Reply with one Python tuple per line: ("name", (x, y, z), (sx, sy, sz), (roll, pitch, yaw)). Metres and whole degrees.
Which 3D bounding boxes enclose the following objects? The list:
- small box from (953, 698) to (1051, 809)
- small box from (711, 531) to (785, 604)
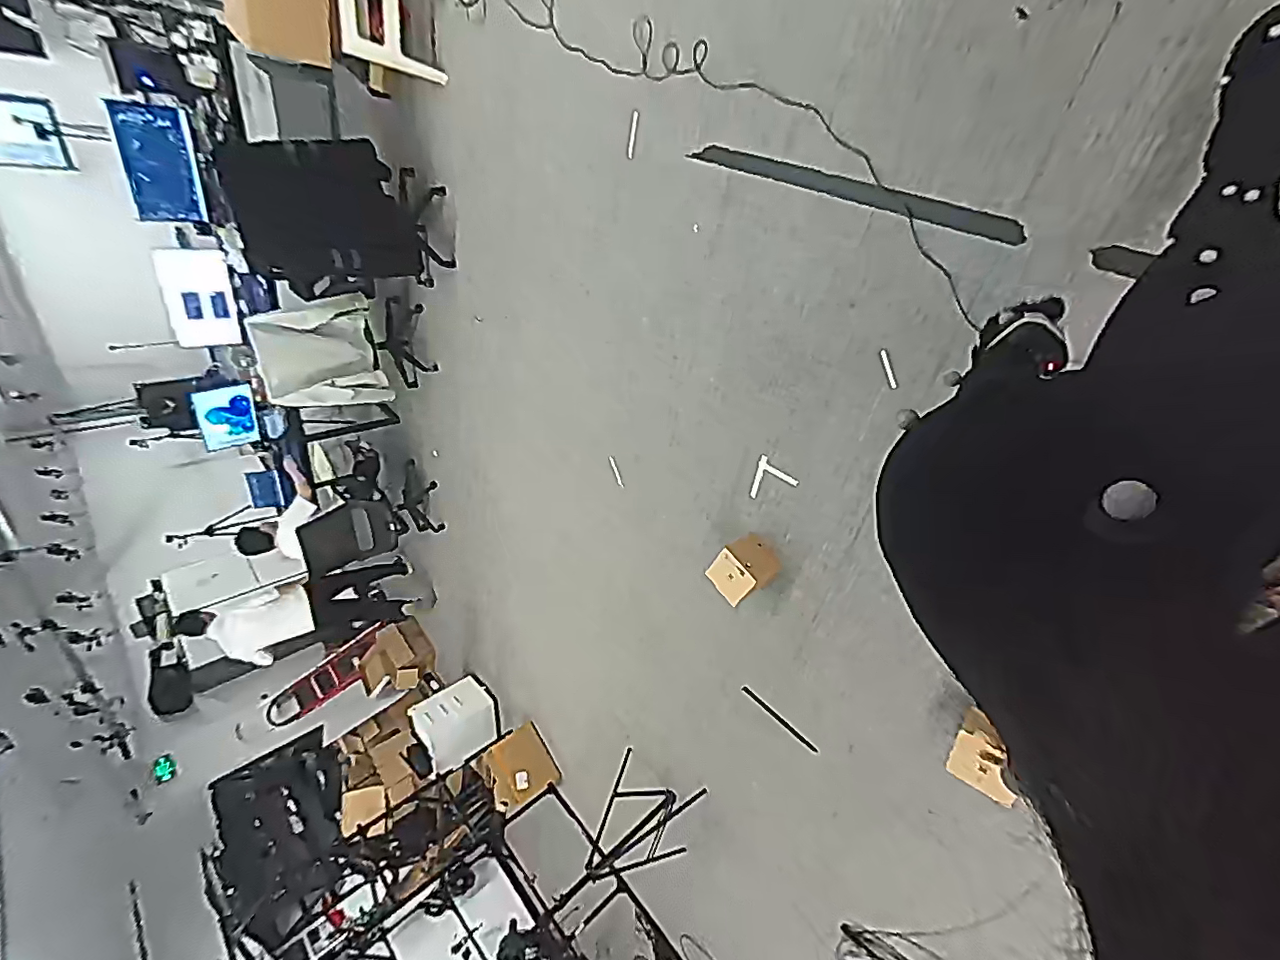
("small box", (0.998, 0.741, 1.486), (0.168, 0.176, 0.179), (25, 125, 40))
("small box", (0.398, 0.319, 1.982), (0.168, 0.176, 0.179), (49, 137, 22))
